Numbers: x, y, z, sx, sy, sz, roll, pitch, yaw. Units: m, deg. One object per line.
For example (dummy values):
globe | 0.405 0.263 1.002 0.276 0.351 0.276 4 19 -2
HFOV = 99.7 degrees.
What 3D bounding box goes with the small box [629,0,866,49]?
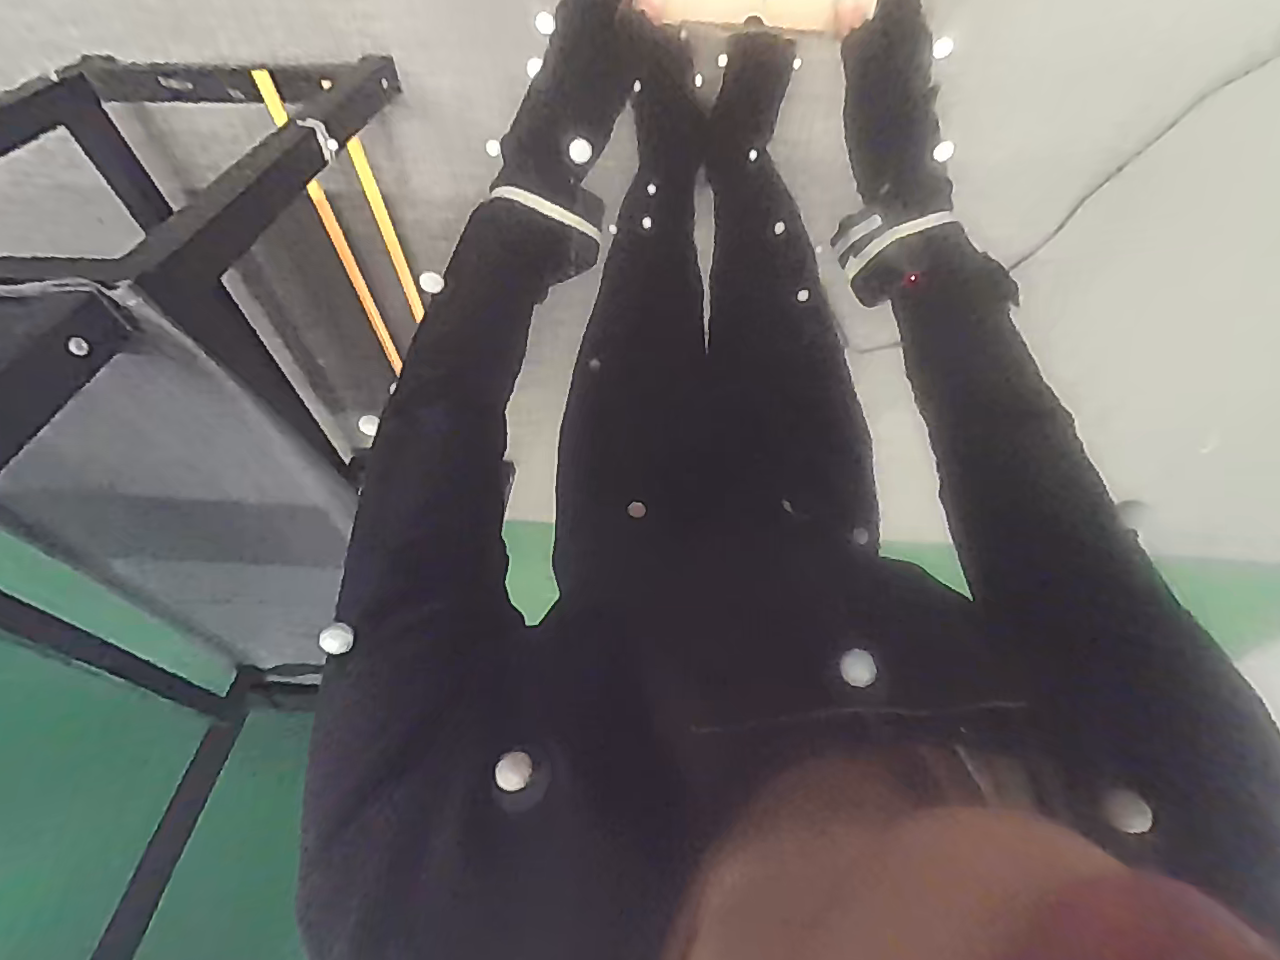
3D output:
small box | 0.081 -0.433 0.384 0.168 0.176 0.179 3 133 -3
